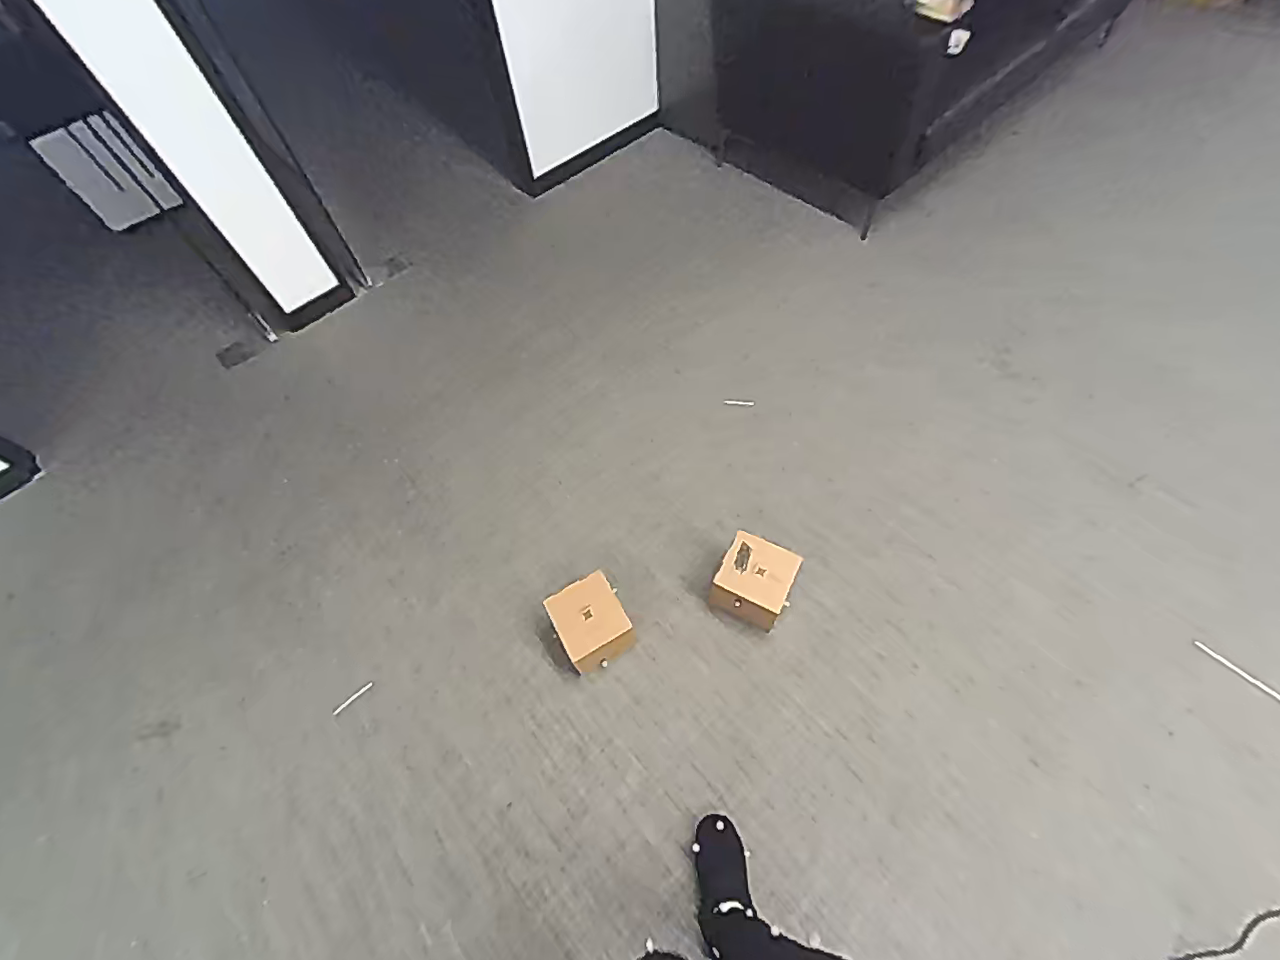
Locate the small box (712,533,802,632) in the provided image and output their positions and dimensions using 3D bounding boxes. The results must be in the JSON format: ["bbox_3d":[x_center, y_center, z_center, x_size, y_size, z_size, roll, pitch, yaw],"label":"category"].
[{"bbox_3d":[0.298,0.272,1.410,0.179,0.176,0.168,24,64,18],"label":"small box"}]

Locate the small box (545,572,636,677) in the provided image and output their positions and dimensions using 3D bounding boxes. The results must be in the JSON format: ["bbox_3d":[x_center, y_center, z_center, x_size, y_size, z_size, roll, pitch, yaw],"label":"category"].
[{"bbox_3d":[-0.123,0.372,1.382,0.168,0.176,0.179,-27,60,-11],"label":"small box"}]
